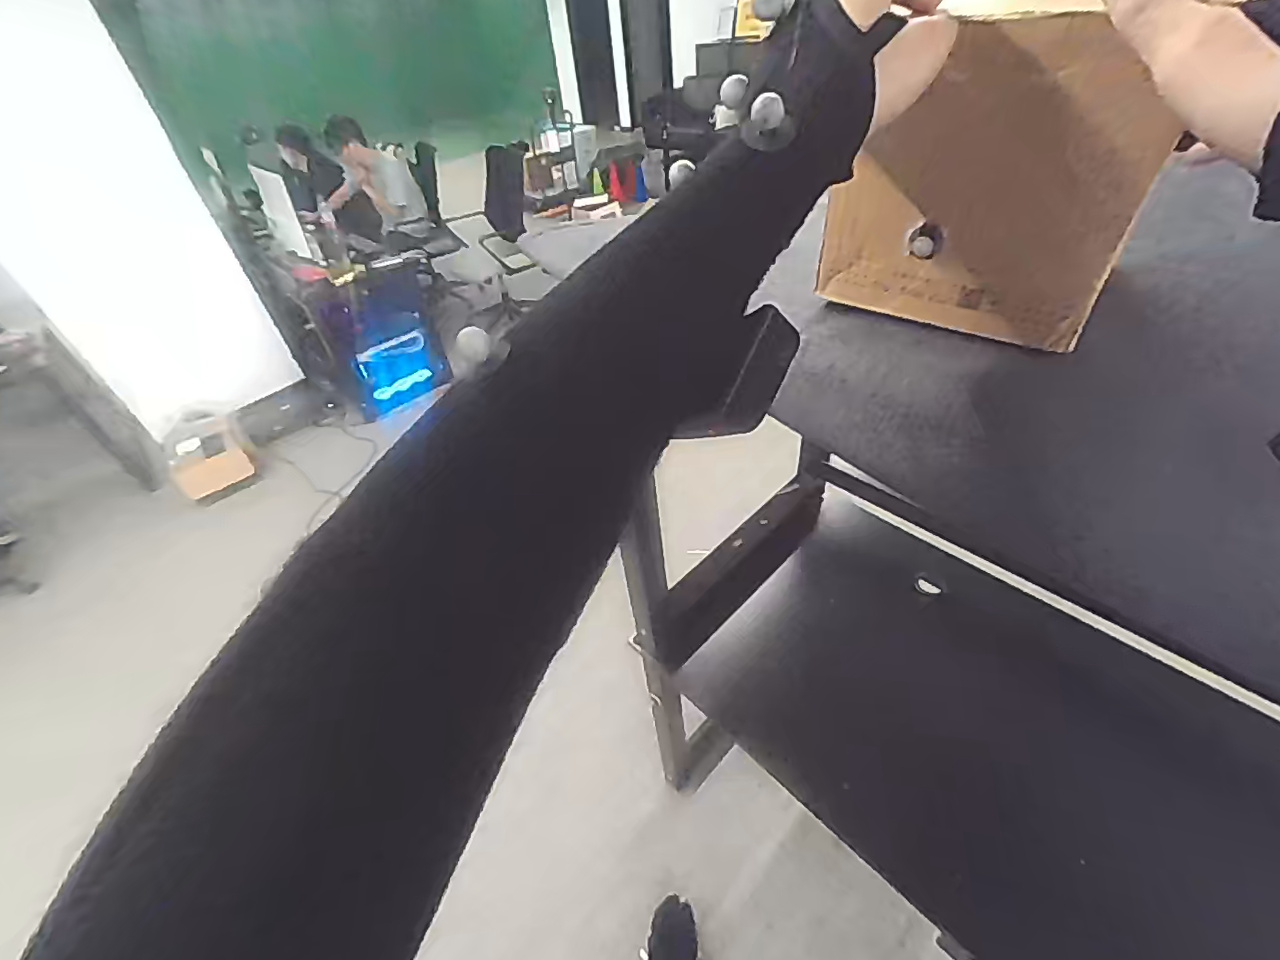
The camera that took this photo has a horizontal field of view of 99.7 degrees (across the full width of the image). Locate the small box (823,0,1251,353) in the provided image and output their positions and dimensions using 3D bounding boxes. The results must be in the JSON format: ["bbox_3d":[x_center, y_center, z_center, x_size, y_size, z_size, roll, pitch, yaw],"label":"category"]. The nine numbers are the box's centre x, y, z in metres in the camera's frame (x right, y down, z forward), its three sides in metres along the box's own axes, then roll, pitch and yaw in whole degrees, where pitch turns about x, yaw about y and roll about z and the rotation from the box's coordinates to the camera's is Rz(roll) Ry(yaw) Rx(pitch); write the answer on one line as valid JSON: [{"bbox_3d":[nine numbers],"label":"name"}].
[{"bbox_3d":[0.238,-0.211,0.355,0.168,0.176,0.179,27,53,30],"label":"small box"}]
